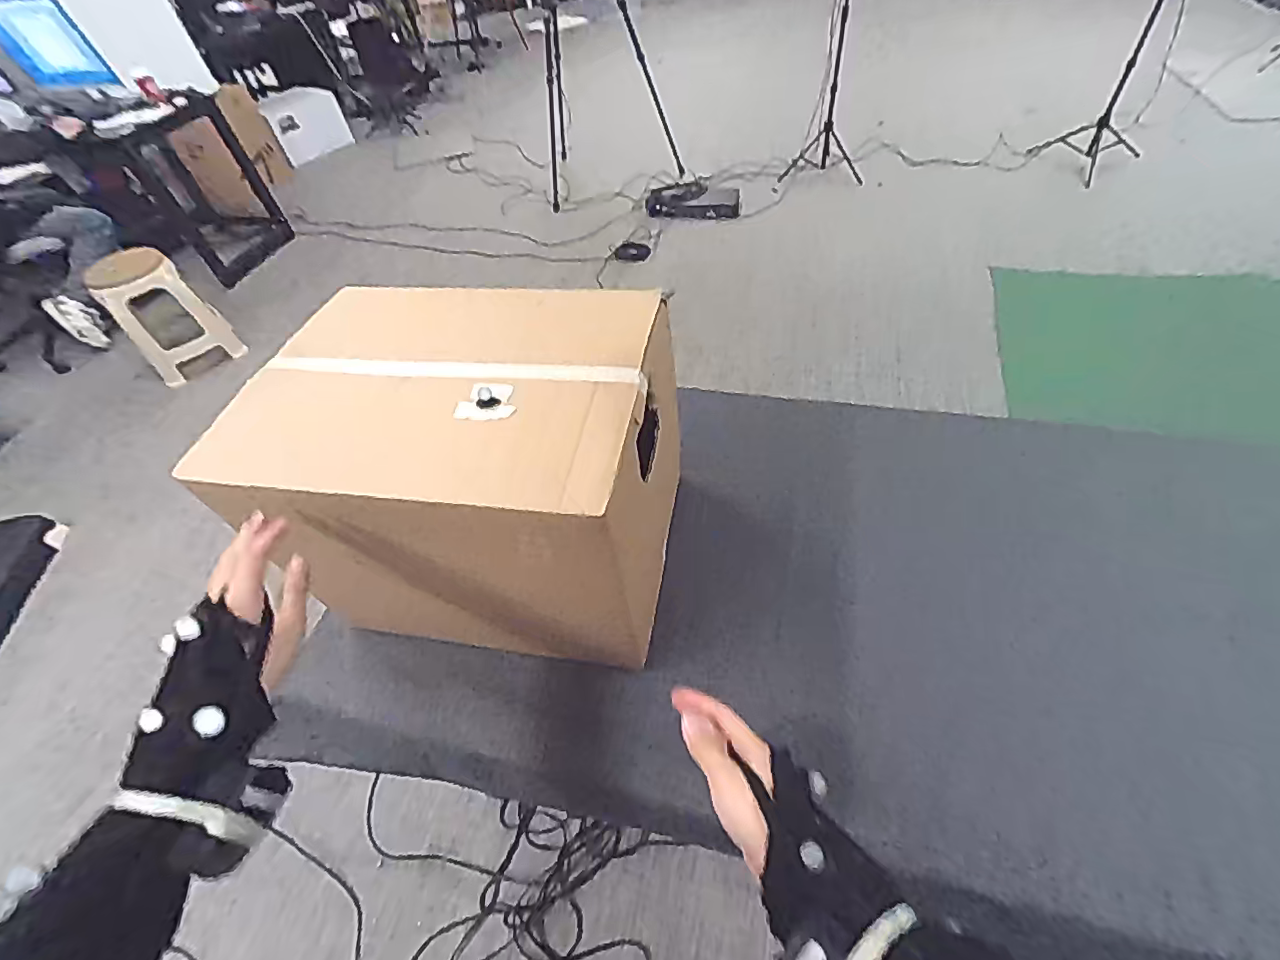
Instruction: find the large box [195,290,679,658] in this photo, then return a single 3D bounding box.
[{"bbox_3d":[-0.171,-0.009,0.657,0.408,0.320,0.320,5,51,10],"label":"large box"}]
